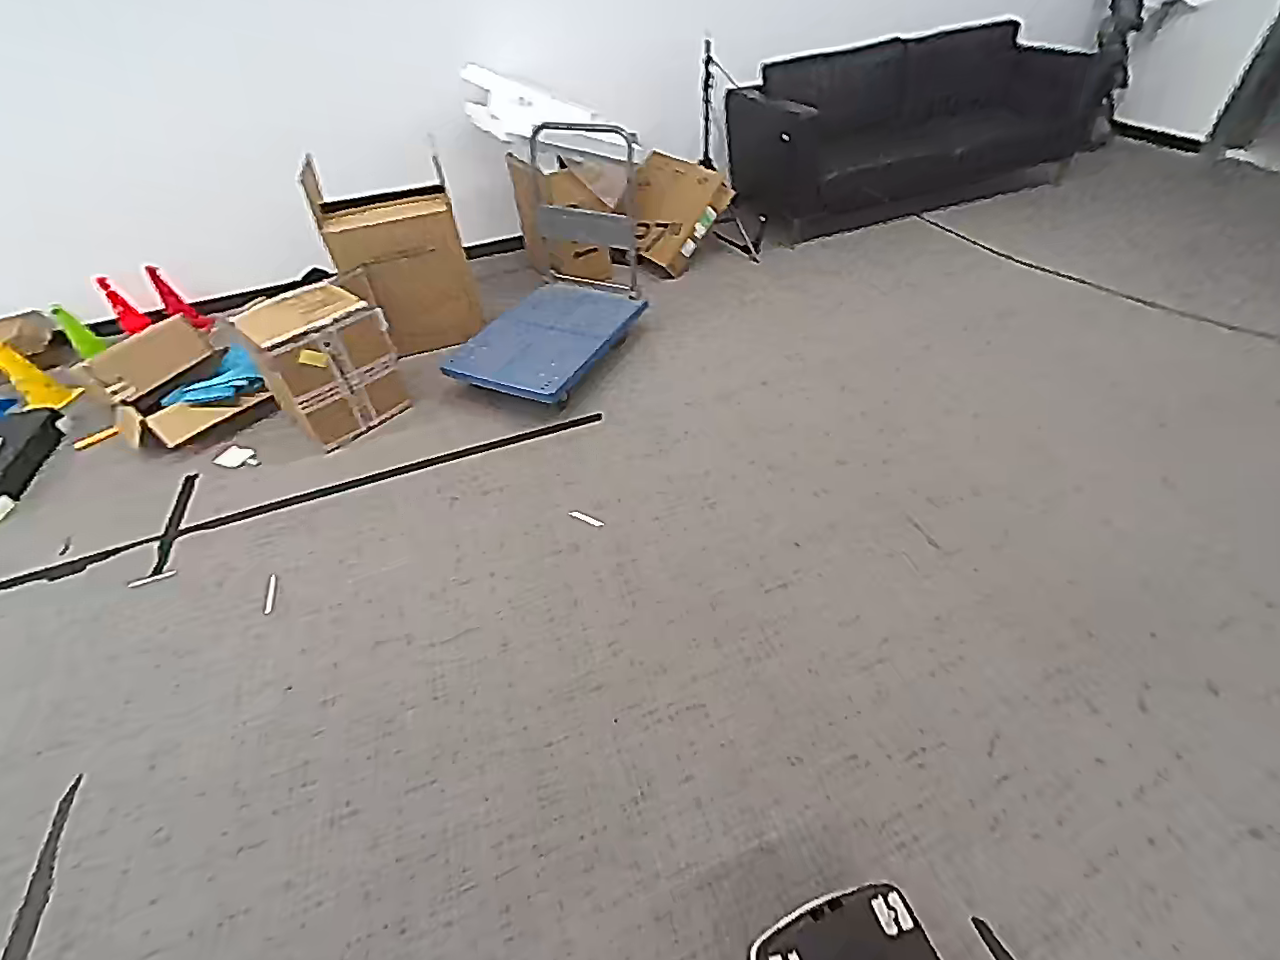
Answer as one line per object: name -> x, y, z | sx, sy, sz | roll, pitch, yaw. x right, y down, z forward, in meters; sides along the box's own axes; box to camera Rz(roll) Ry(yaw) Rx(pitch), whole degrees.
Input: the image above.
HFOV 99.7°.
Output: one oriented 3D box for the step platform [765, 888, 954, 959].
step platform -> 0.457, 1.005, 0.758 | 0.286, 0.204, 0.684 | -17, 45, -12
